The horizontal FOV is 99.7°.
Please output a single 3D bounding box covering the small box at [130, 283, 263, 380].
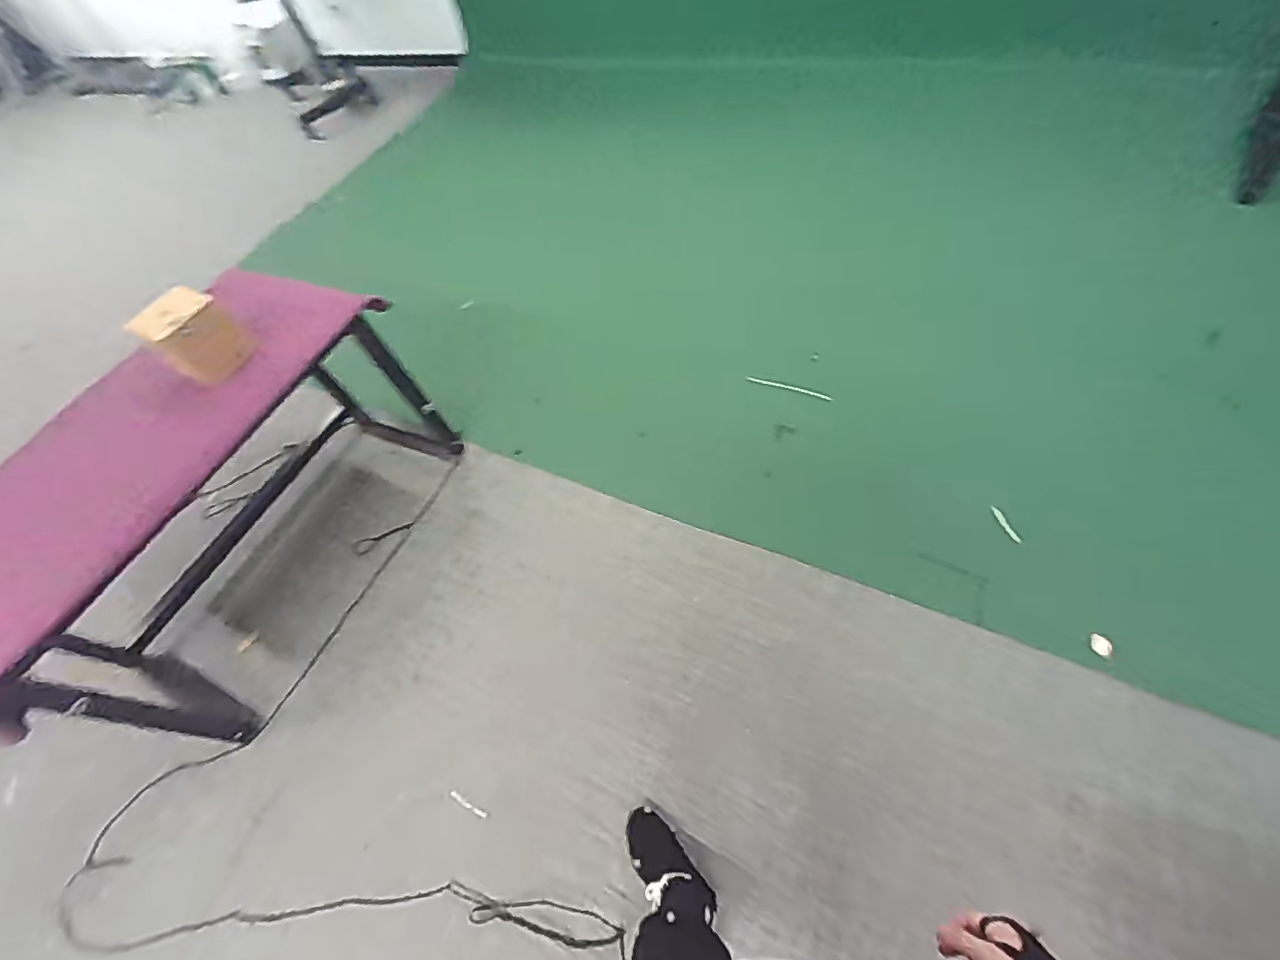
[{"bbox_3d":[-1.159,-0.389,1.425,0.179,0.176,0.168,20,65,24],"label":"small box"}]
